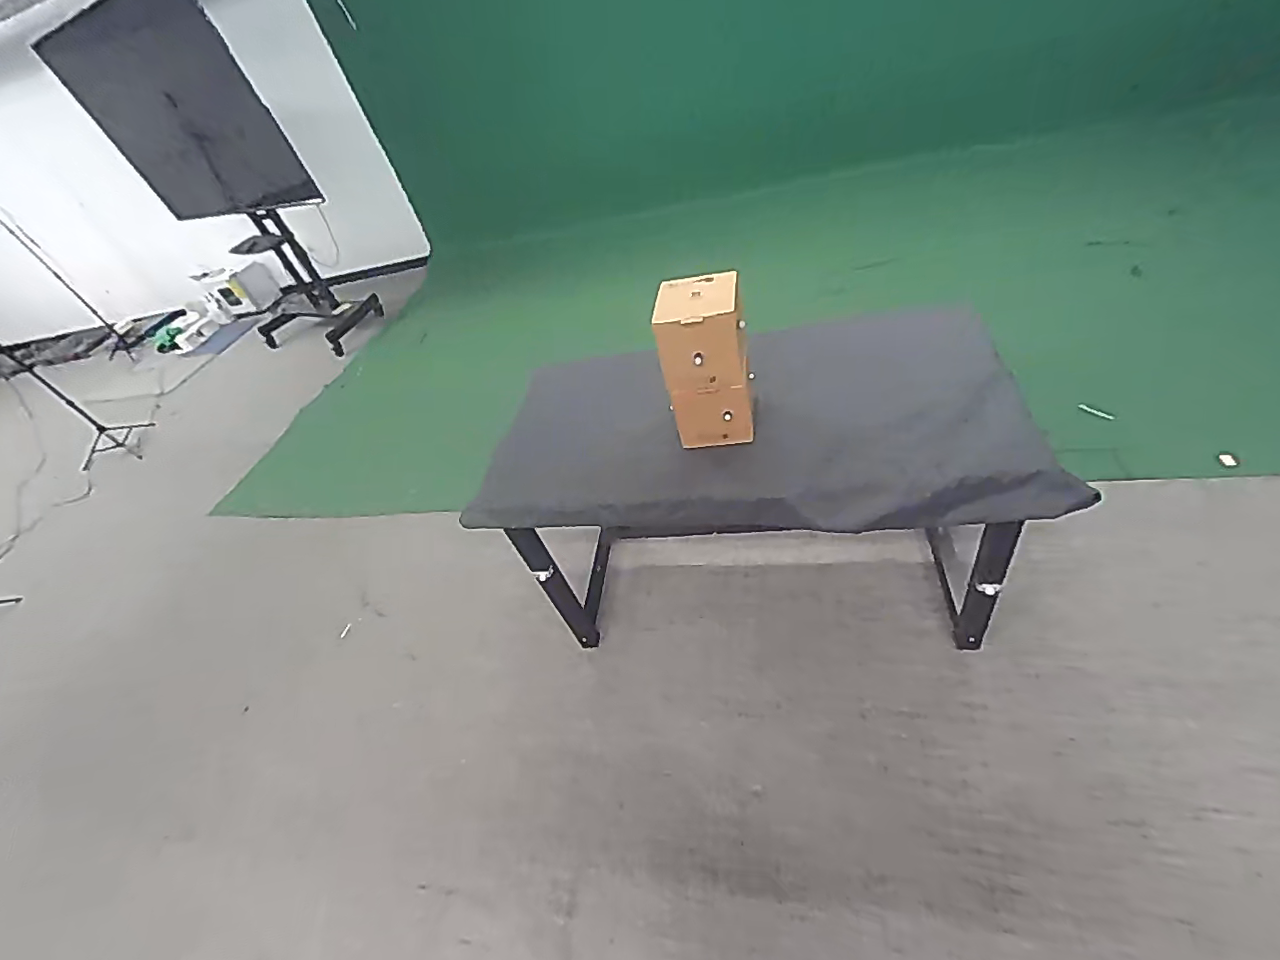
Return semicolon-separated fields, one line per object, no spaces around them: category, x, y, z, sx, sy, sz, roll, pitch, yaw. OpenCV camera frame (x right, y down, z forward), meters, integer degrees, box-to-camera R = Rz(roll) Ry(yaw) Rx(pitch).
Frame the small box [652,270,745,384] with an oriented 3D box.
small box;0.133;-0.318;1.153;0.168;0.176;0.179;-3;47;15

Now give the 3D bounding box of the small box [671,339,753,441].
small box;0.174;-0.203;1.262;0.168;0.176;0.179;-4;45;14
